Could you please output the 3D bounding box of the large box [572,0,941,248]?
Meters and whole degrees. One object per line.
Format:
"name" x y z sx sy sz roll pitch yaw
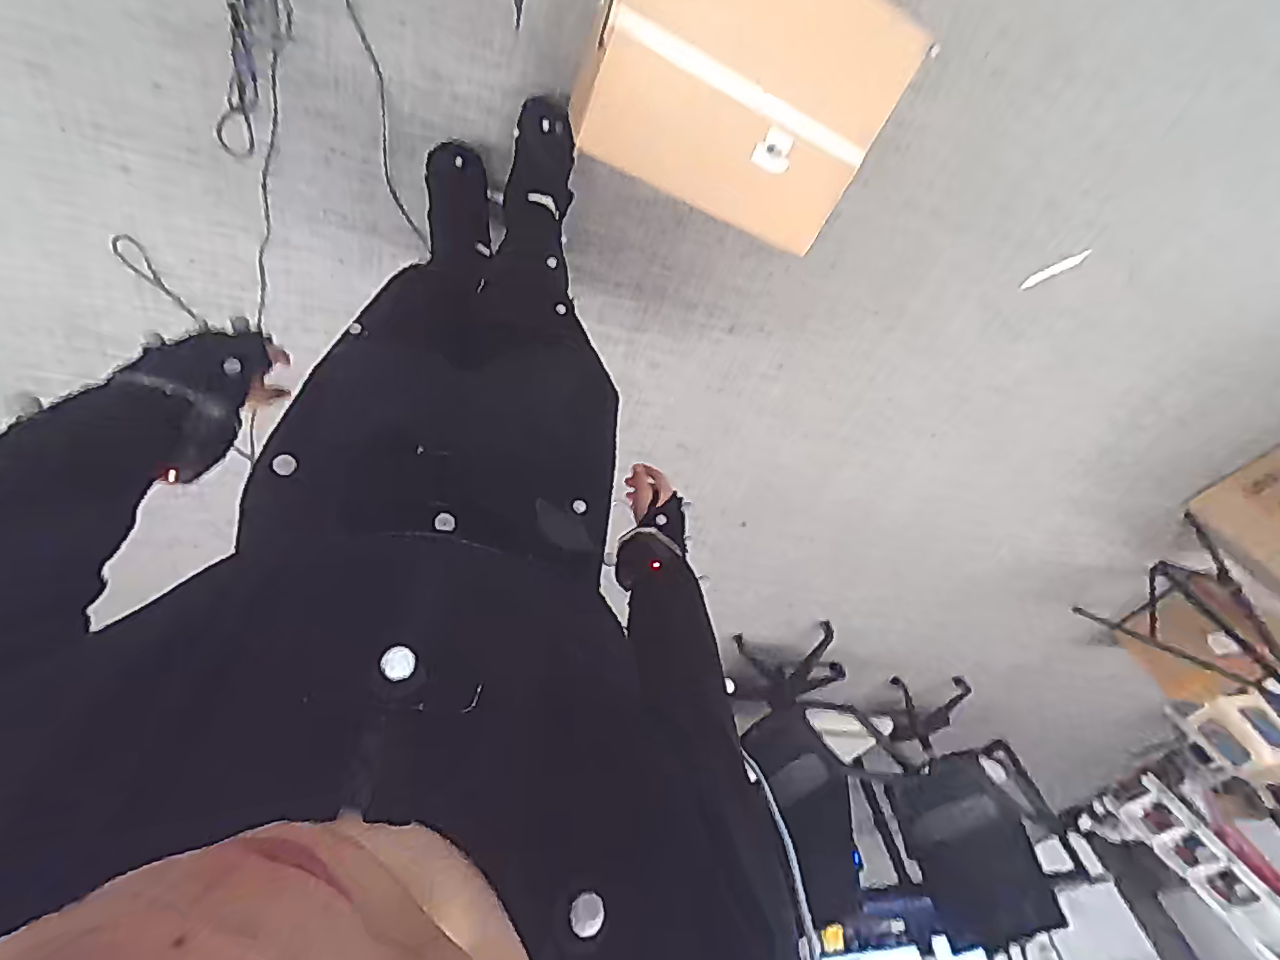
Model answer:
"large box" 0.136 -0.625 0.834 0.408 0.320 0.320 14 128 -22
